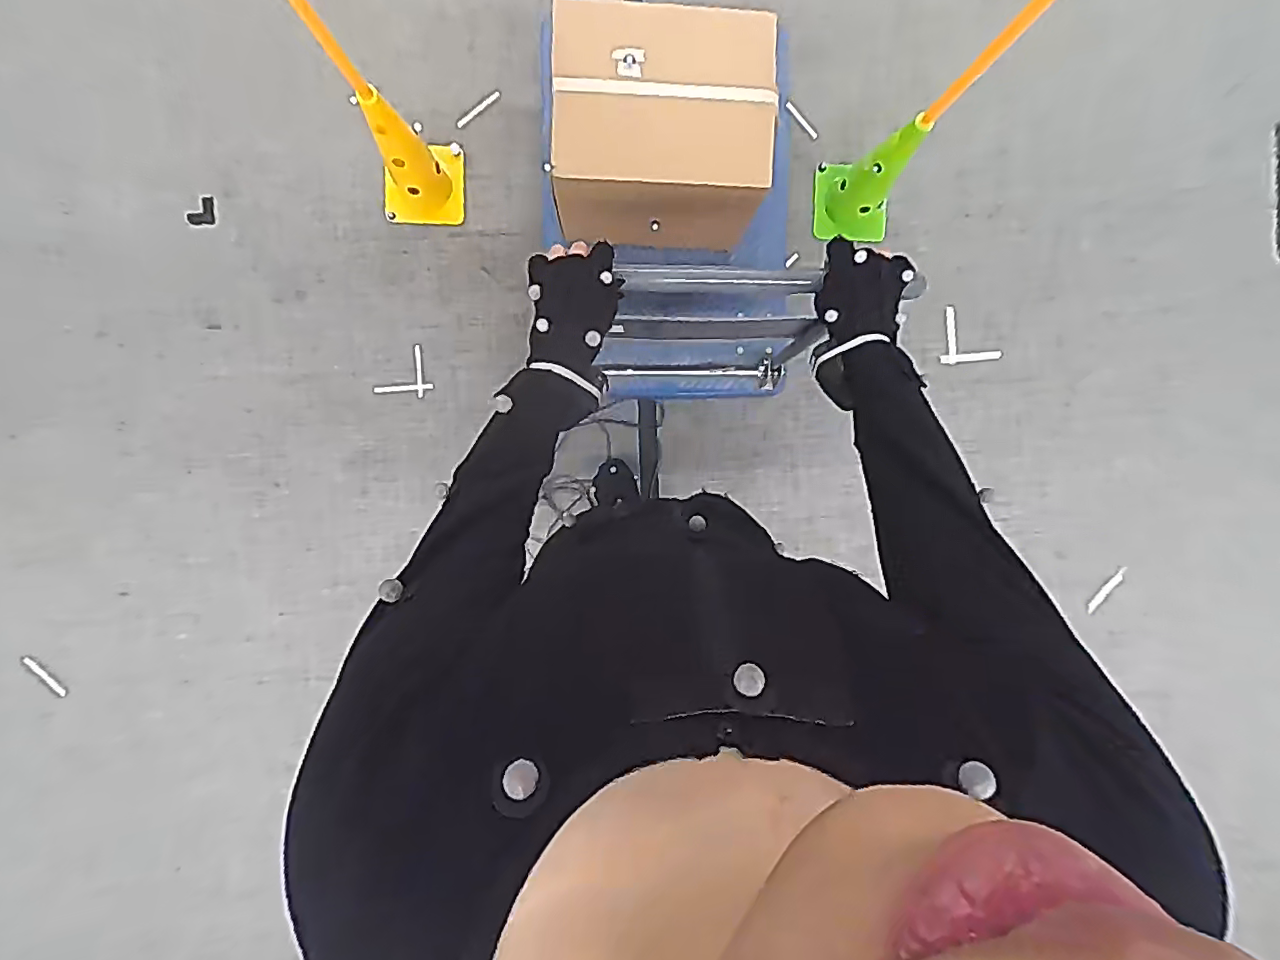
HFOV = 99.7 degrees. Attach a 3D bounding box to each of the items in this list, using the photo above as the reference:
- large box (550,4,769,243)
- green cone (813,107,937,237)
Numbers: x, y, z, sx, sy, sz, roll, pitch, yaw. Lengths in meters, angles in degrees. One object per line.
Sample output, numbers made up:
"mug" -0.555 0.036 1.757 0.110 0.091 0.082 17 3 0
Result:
"large box" 0.032 -0.709 1.131 0.408 0.320 0.320 1 93 -3
"green cone" 0.582 -0.760 1.302 0.202 0.368 0.200 1 92 -4
